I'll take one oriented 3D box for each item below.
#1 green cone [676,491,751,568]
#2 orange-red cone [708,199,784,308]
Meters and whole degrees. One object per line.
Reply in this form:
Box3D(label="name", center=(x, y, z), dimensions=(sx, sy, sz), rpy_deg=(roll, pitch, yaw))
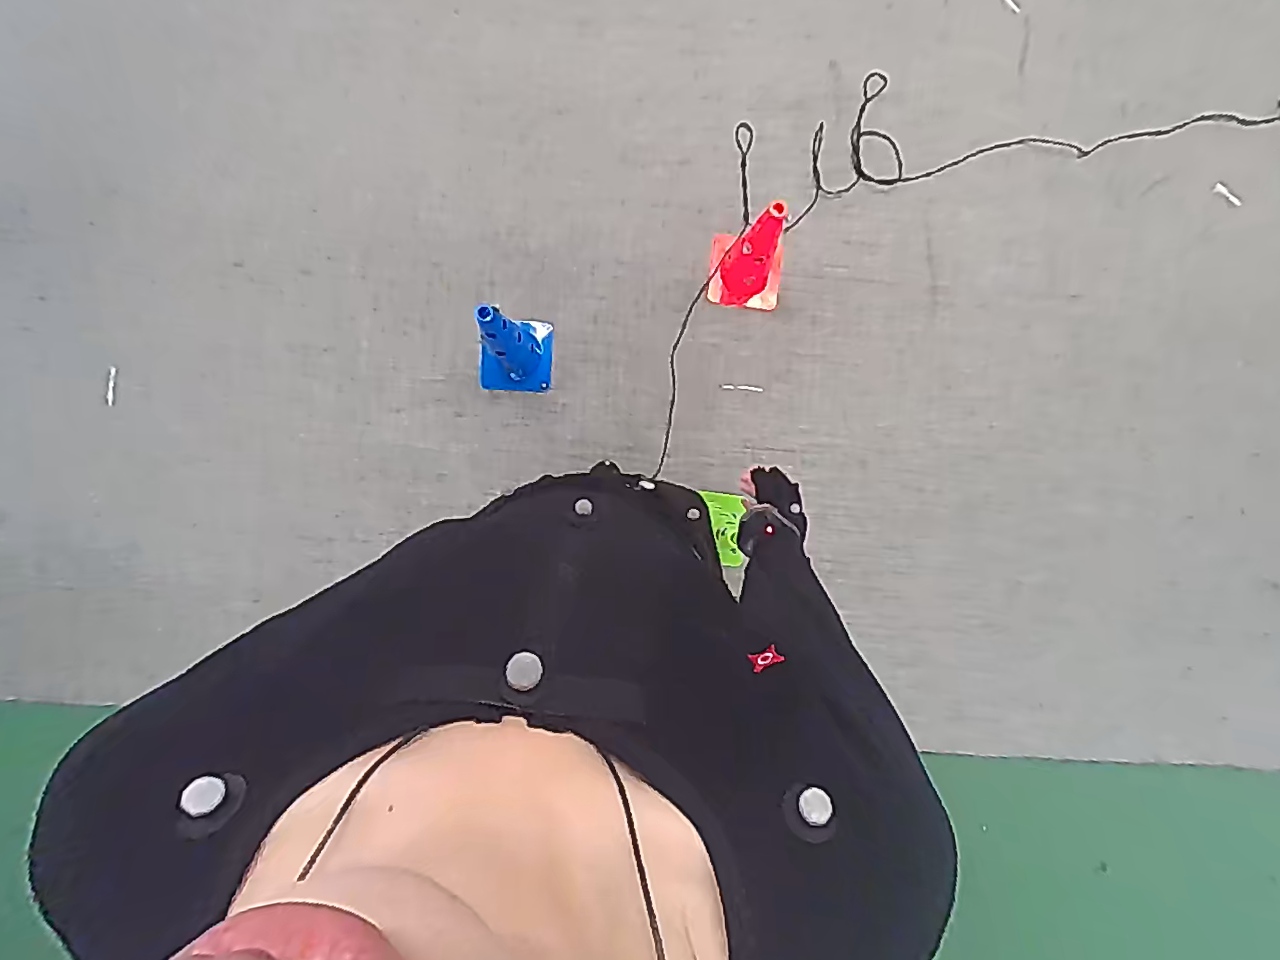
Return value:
Box3D(label="green cone", center=(0.211, 0.131, 1.338), dimensions=(0.200, 0.368, 0.202), rpy_deg=(6, 87, -2))
Box3D(label="orange-red cone", center=(0.301, -0.596, 1.362), dimensions=(0.198, 0.360, 0.199), rpy_deg=(8, 90, 0))
